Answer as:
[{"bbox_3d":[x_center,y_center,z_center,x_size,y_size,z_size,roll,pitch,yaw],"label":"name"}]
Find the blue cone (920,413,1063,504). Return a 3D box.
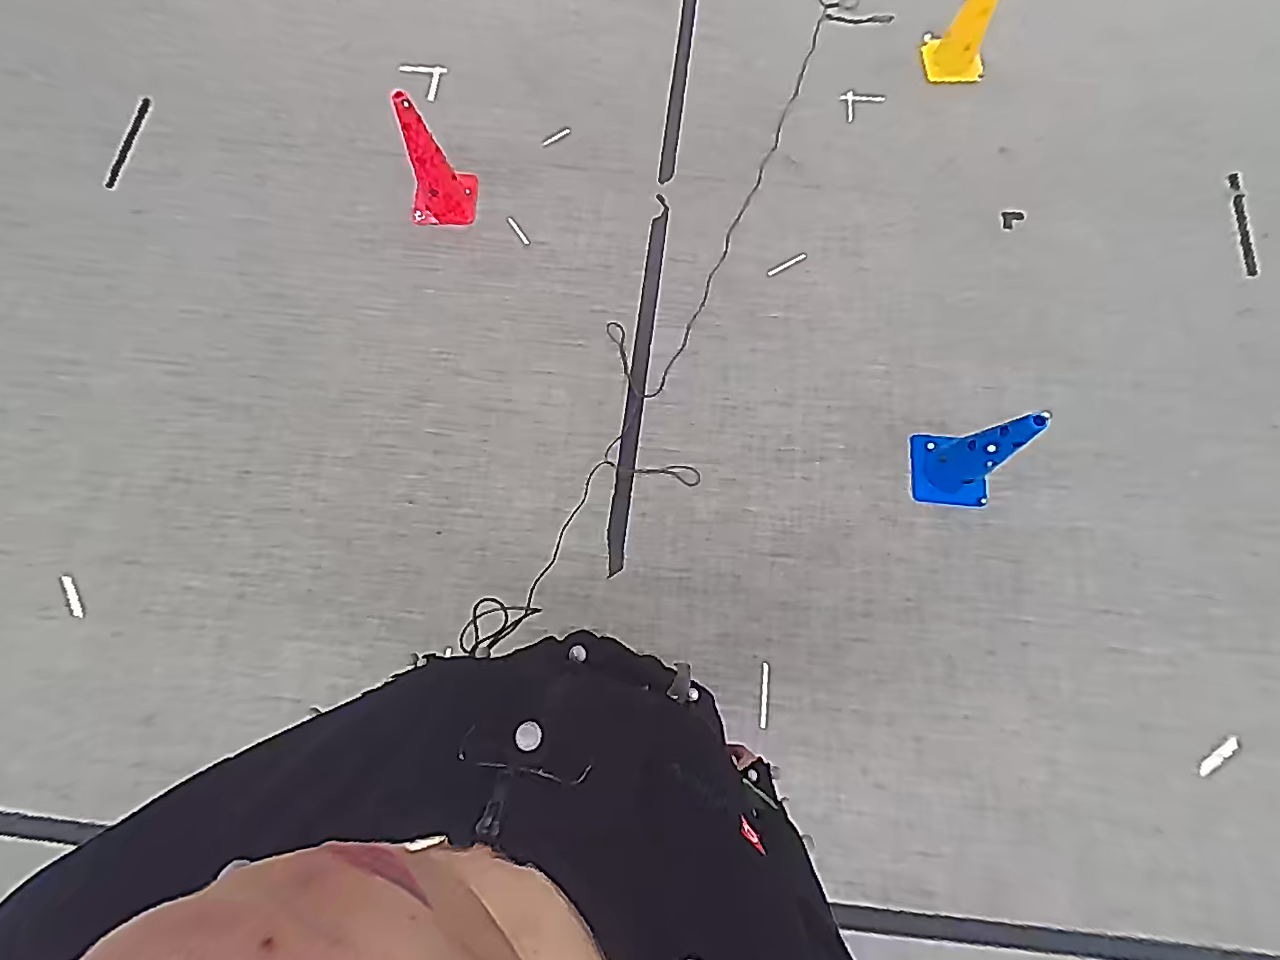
[{"bbox_3d":[0.861,-0.075,1.315,0.192,0.380,0.193,7,74,1],"label":"blue cone"}]

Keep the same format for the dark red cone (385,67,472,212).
[{"bbox_3d":[-0.633,-0.976,1.554,0.201,0.394,0.202,-1,74,-1],"label":"dark red cone"}]
